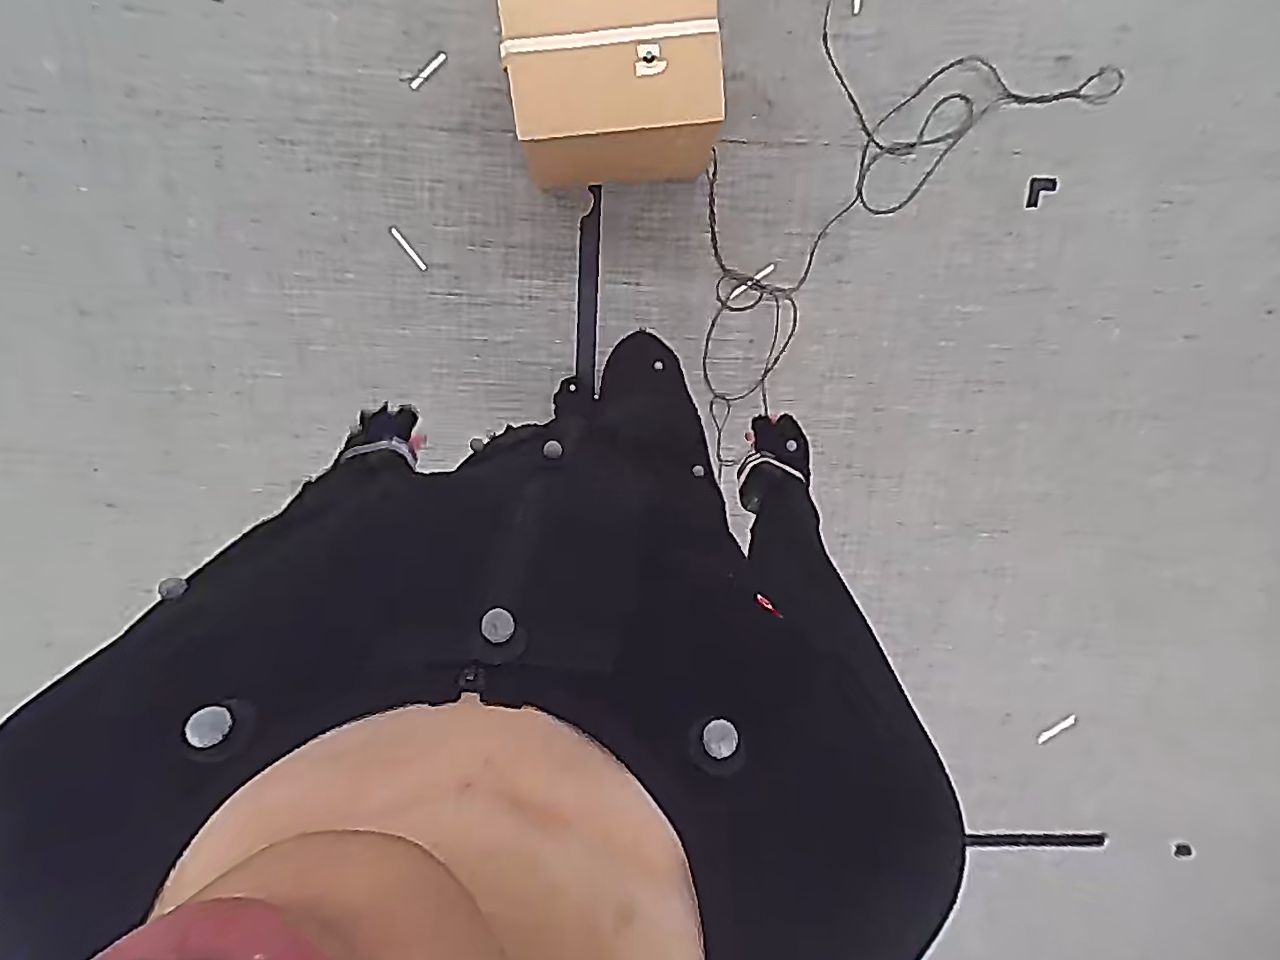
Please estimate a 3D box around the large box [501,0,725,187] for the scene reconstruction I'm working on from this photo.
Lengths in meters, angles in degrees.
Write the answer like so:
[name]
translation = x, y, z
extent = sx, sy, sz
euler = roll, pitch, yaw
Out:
[large box]
translation = -0.056, -0.857, 1.152
extent = 0.408, 0.320, 0.320
euler = -6, 102, -1
